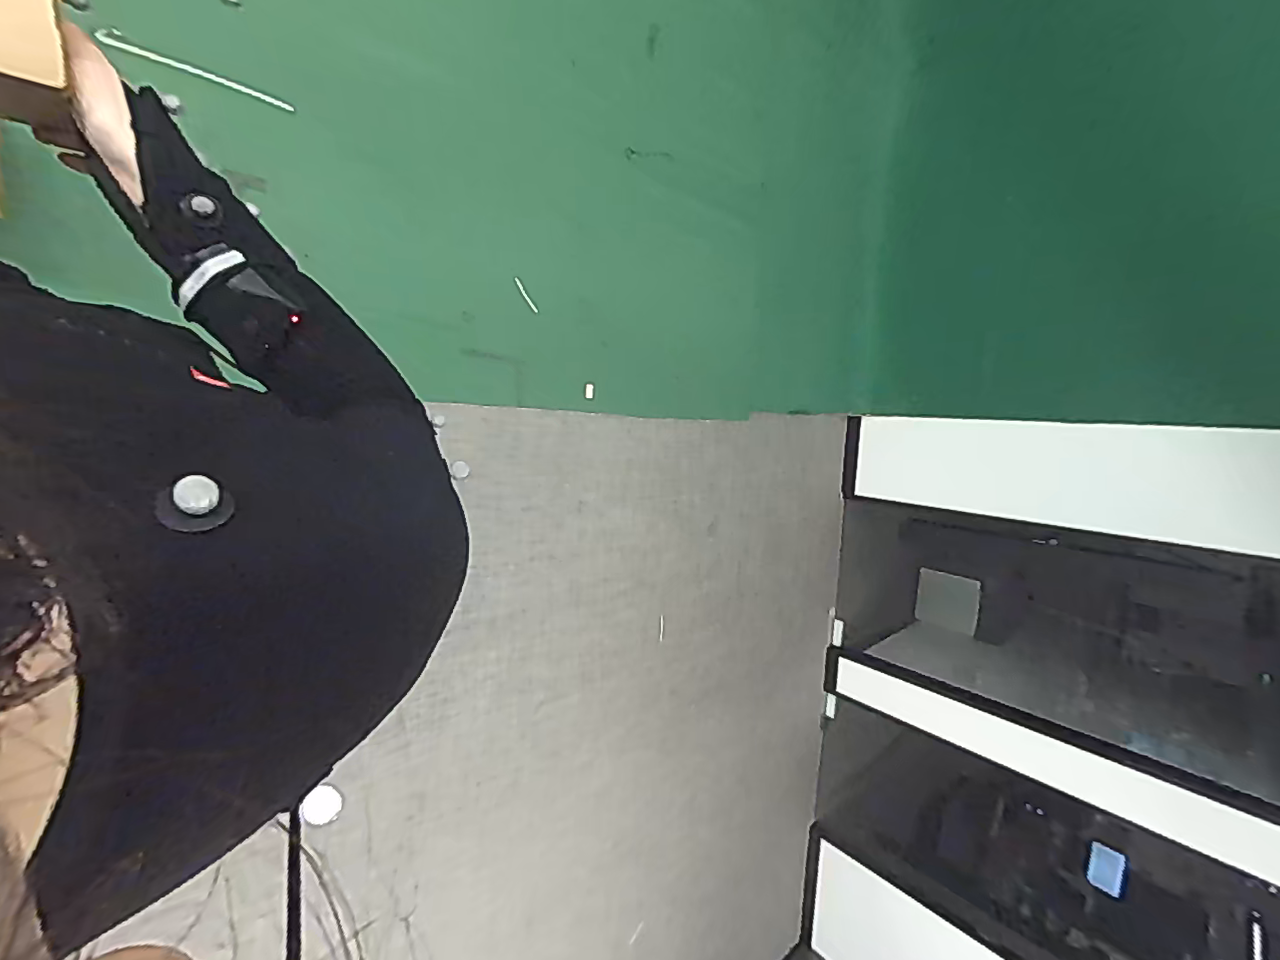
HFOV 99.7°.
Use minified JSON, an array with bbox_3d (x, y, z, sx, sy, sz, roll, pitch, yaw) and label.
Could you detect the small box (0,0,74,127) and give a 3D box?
[{"bbox_3d":[-0.437,-0.313,0.286,0.179,0.176,0.168,-8,113,-44],"label":"small box"}]
